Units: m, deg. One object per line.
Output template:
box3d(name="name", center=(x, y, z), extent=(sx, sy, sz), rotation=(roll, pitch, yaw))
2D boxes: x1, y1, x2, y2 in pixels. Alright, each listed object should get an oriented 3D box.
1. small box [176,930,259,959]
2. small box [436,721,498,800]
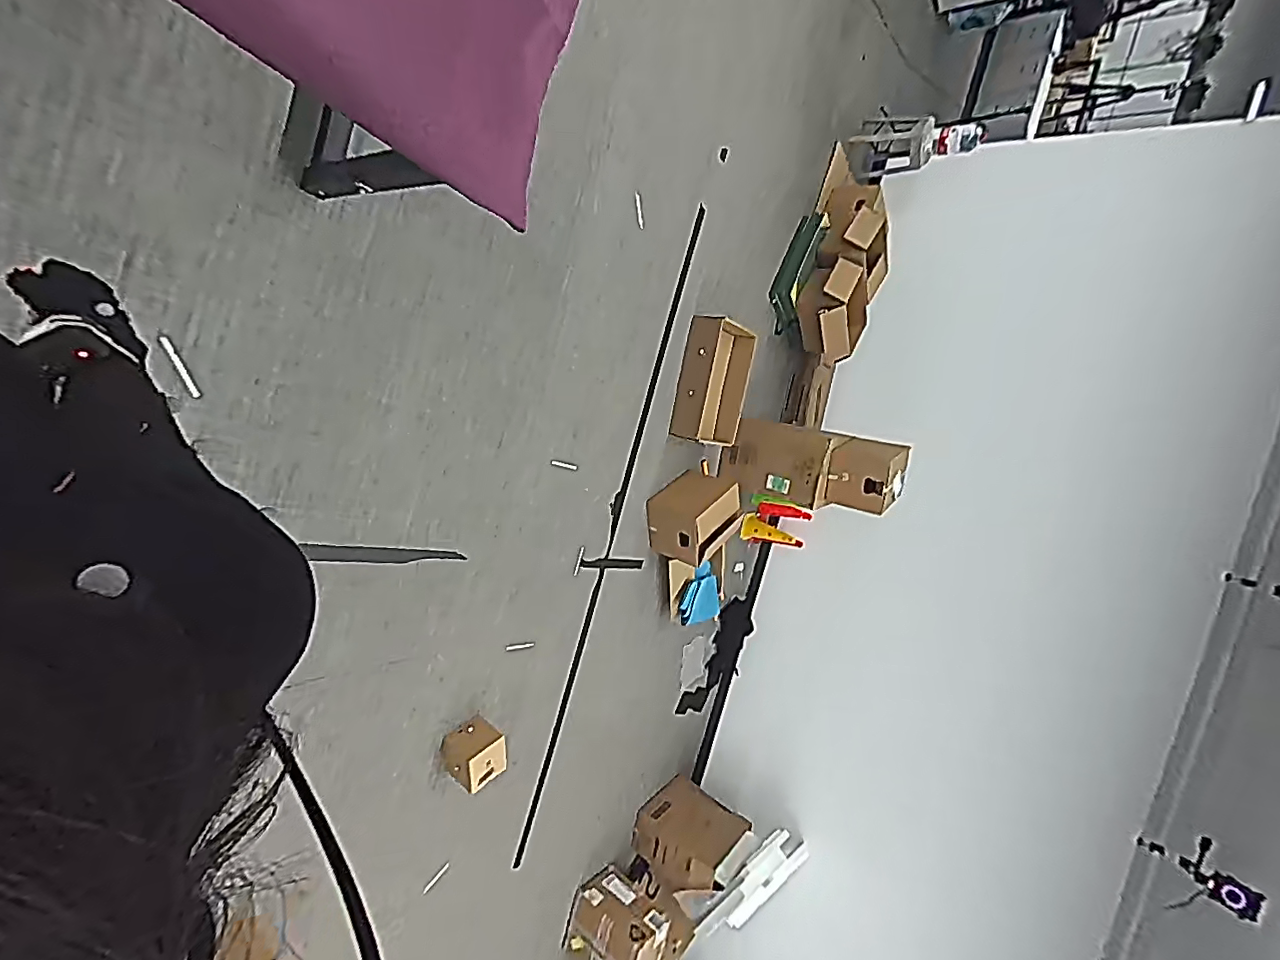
box3d(name="small box", center=(-1.215, 1.426, 1.515), extent=(0.179, 0.176, 0.168), rotation=(37, 76, -55))
box3d(name="small box", center=(-0.673, 1.087, 2.110), extent=(0.168, 0.176, 0.179), rotation=(-21, 120, -49))
